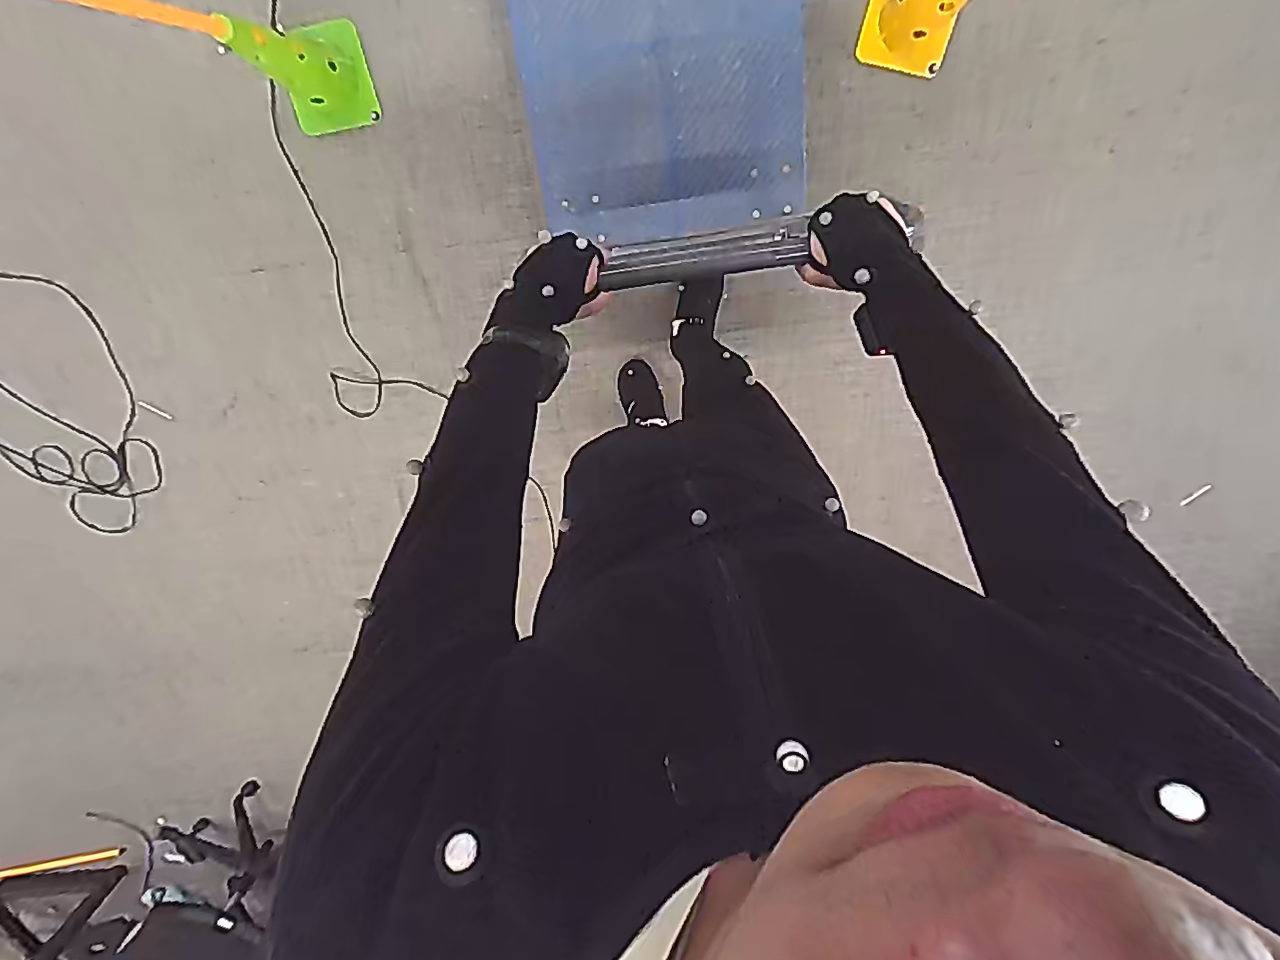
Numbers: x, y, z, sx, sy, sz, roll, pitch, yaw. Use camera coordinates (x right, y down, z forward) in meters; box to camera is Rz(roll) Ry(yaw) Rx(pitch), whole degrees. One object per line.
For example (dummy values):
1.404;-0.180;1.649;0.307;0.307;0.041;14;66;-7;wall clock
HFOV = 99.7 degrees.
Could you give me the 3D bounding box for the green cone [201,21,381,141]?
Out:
-0.725;-0.846;1.094;0.202;0.368;0.200;-8;113;6;green cone
